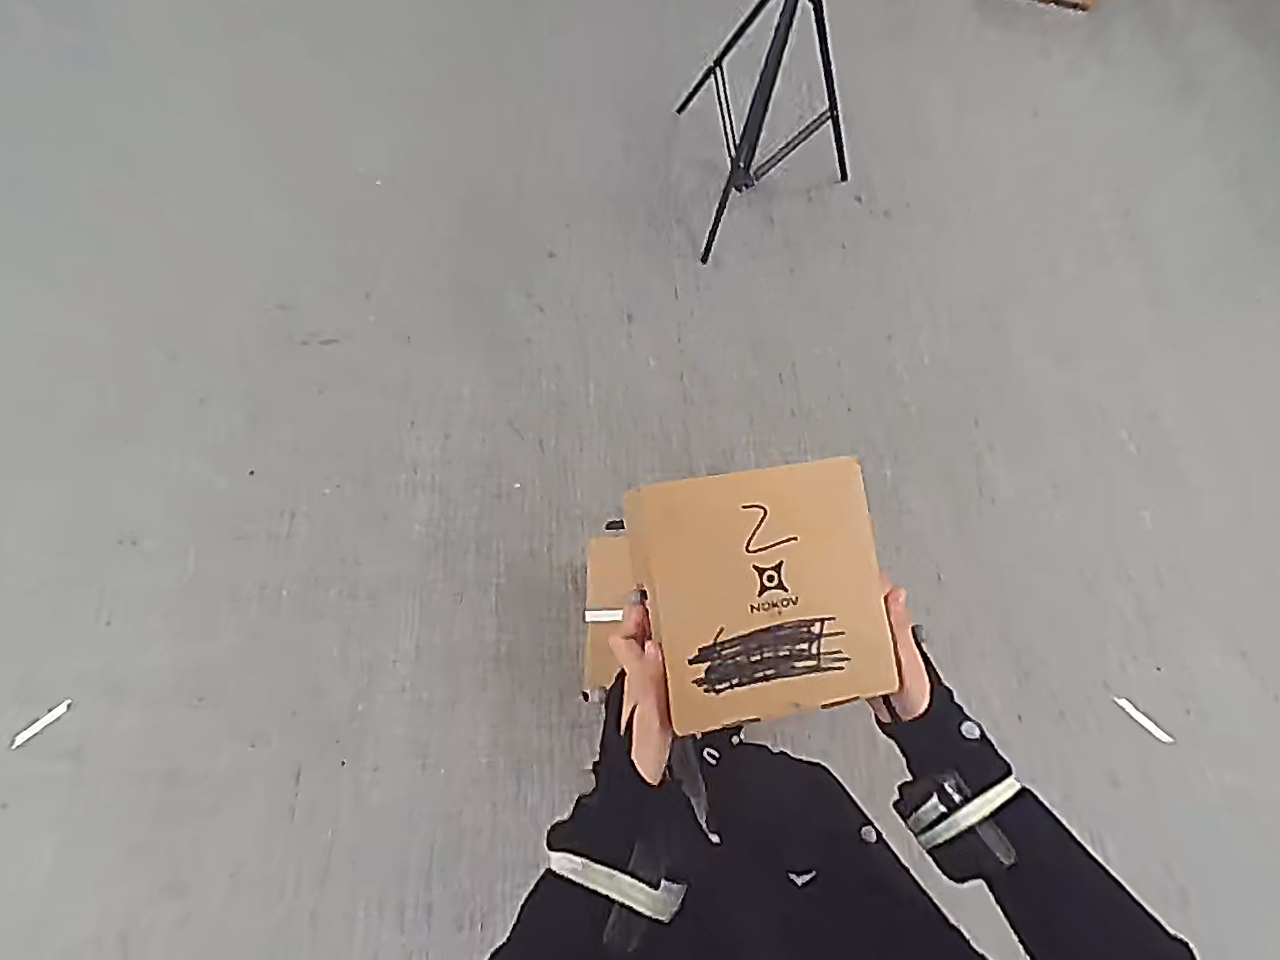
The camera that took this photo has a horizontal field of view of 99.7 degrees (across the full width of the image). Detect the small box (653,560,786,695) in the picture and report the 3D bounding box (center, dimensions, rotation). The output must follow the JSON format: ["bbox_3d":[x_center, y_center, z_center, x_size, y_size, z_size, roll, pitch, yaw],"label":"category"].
[{"bbox_3d":[0.109,0.222,0.823,0.168,0.176,0.179,-2,76,-3],"label":"small box"}]
